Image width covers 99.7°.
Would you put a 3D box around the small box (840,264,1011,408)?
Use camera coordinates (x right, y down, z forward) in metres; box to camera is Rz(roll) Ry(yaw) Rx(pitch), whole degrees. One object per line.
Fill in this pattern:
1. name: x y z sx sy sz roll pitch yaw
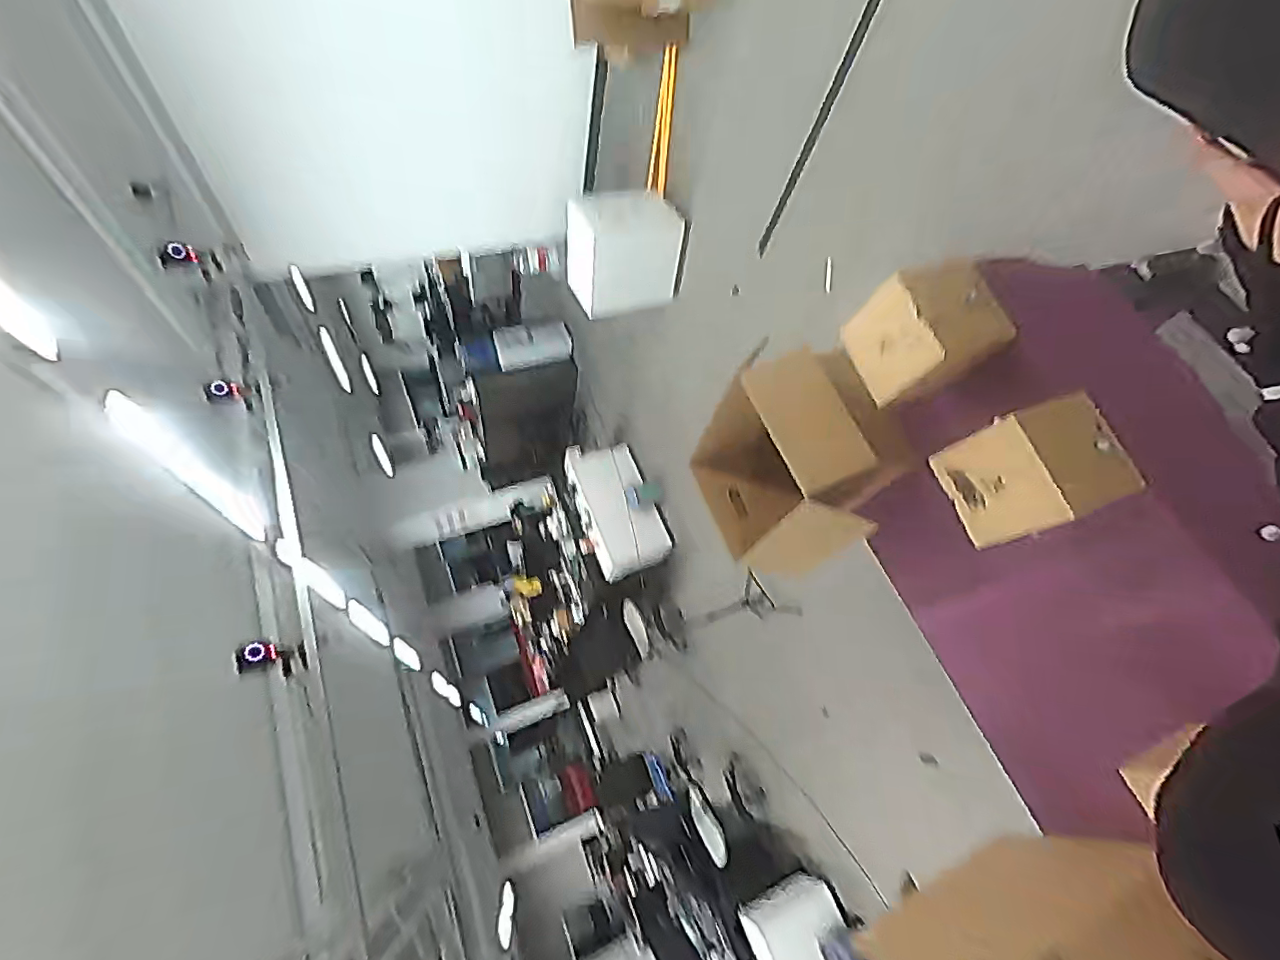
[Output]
1. small box: 0.504 -0.254 0.968 0.179 0.176 0.168 119 130 -67
